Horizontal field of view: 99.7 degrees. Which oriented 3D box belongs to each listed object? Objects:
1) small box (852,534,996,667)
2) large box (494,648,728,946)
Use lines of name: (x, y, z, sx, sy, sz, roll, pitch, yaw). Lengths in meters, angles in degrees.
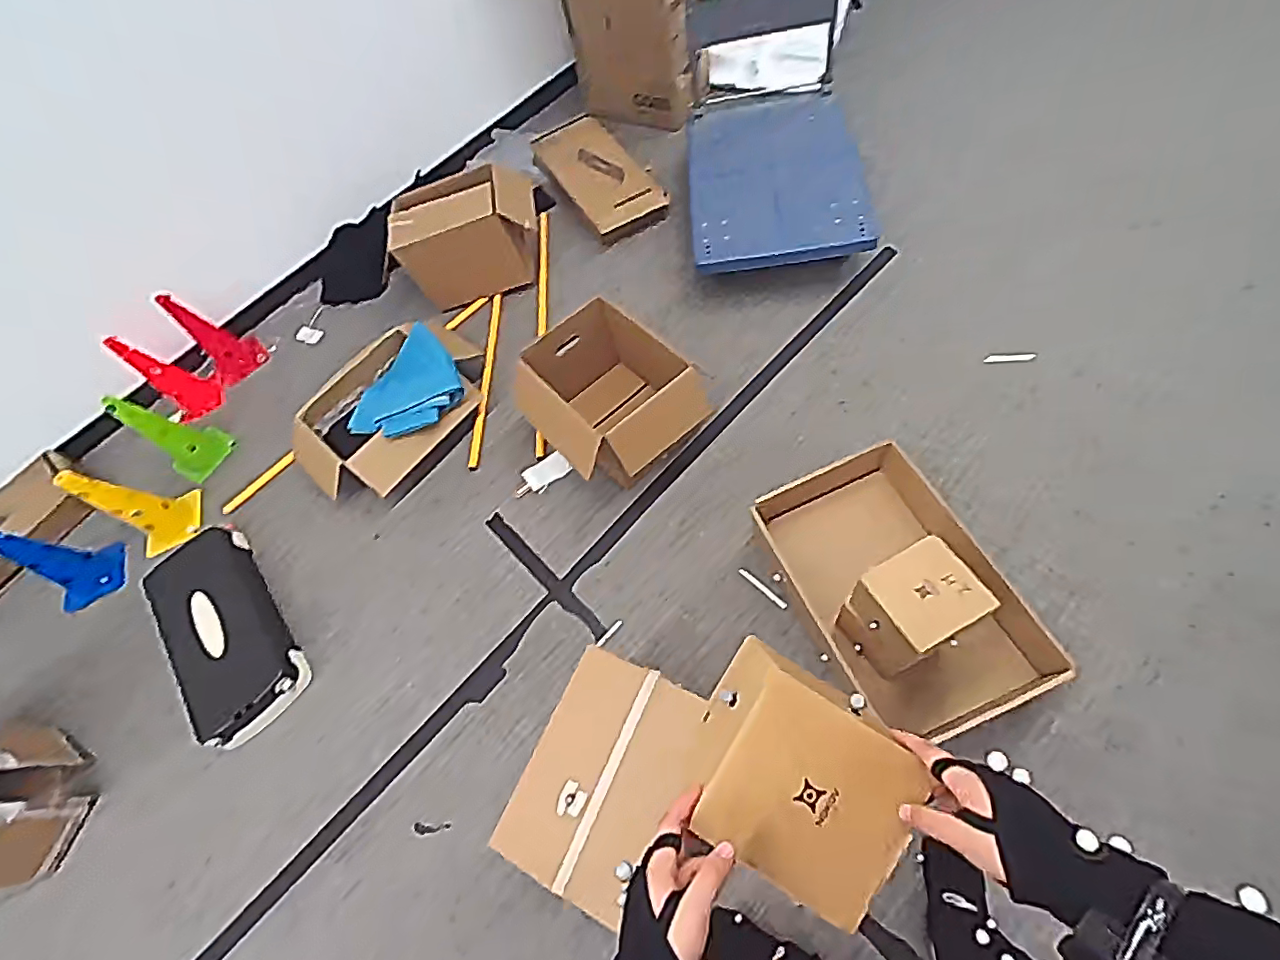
small box: (0.536, 0.241, 1.052, 0.179, 0.176, 0.168, -28, 58, -4)
large box: (-0.028, 0.623, 1.139, 0.320, 0.320, 0.408, 19, 69, 21)
